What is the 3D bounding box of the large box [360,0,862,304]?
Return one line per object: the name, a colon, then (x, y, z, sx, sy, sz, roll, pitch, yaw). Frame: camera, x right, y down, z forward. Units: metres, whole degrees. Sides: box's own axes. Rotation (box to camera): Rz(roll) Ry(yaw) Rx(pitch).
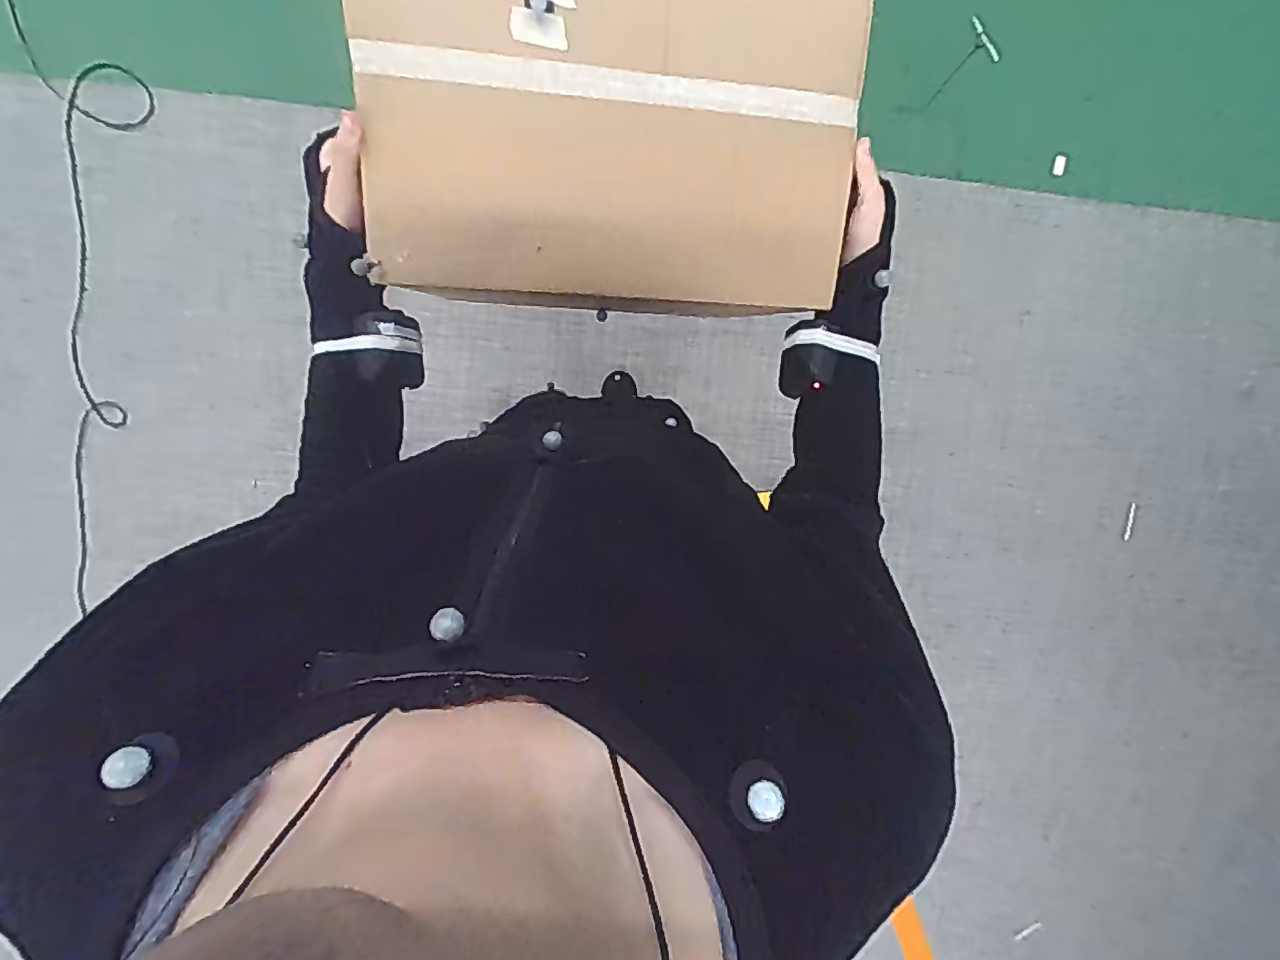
large box: (-0.033, -0.358, 0.585, 0.408, 0.320, 0.320, 0, 106, -8)
